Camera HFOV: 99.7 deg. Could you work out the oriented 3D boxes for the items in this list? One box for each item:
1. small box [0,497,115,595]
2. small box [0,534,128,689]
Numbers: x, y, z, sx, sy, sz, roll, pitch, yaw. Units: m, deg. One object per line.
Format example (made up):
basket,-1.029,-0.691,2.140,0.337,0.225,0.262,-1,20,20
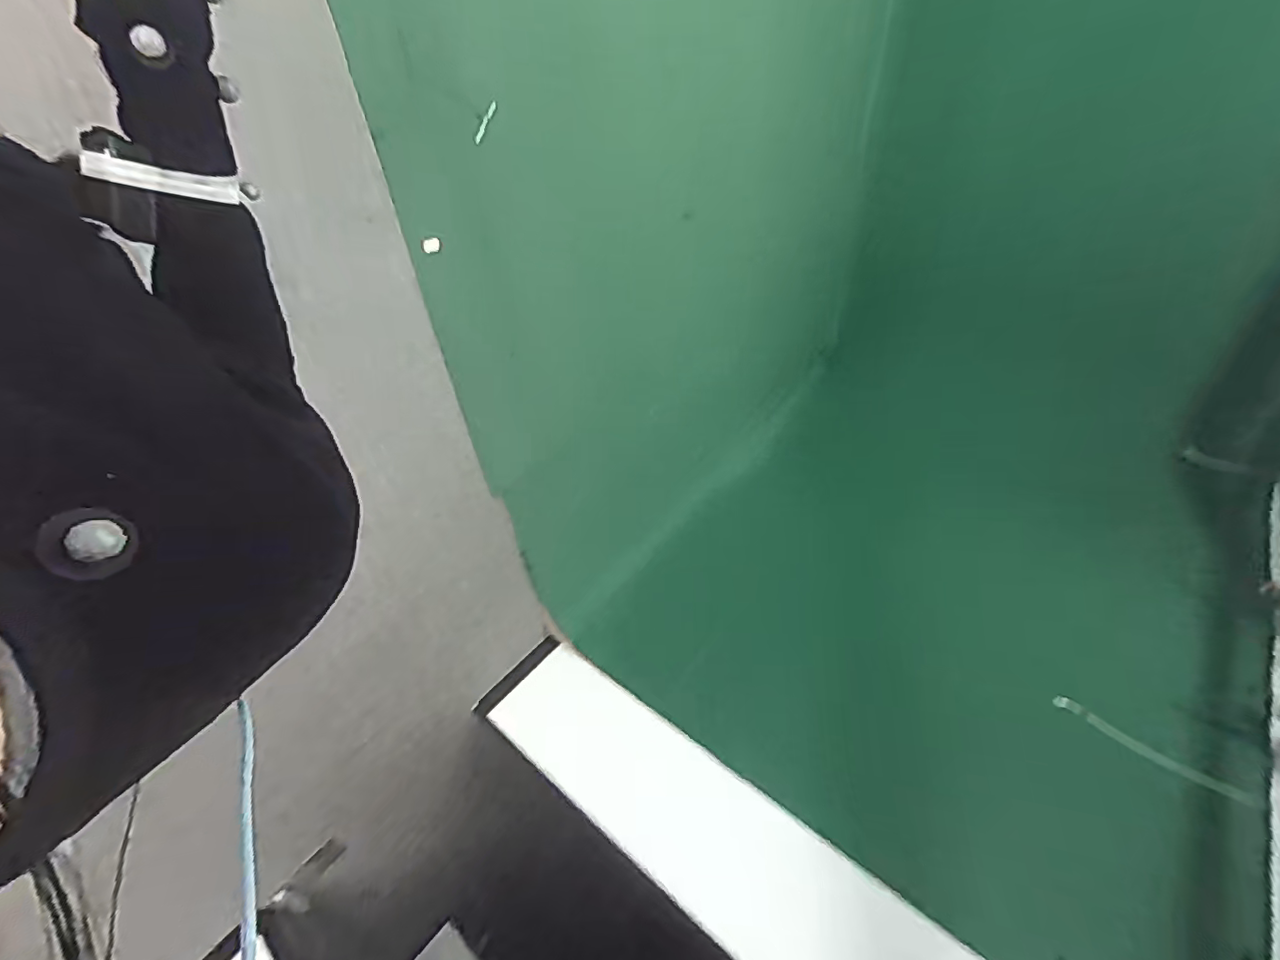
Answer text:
small box,-1.196,0.161,1.066,0.168,0.176,0.179,-32,133,-41
small box,-1.080,0.222,0.964,0.179,0.176,0.168,-32,134,-41
